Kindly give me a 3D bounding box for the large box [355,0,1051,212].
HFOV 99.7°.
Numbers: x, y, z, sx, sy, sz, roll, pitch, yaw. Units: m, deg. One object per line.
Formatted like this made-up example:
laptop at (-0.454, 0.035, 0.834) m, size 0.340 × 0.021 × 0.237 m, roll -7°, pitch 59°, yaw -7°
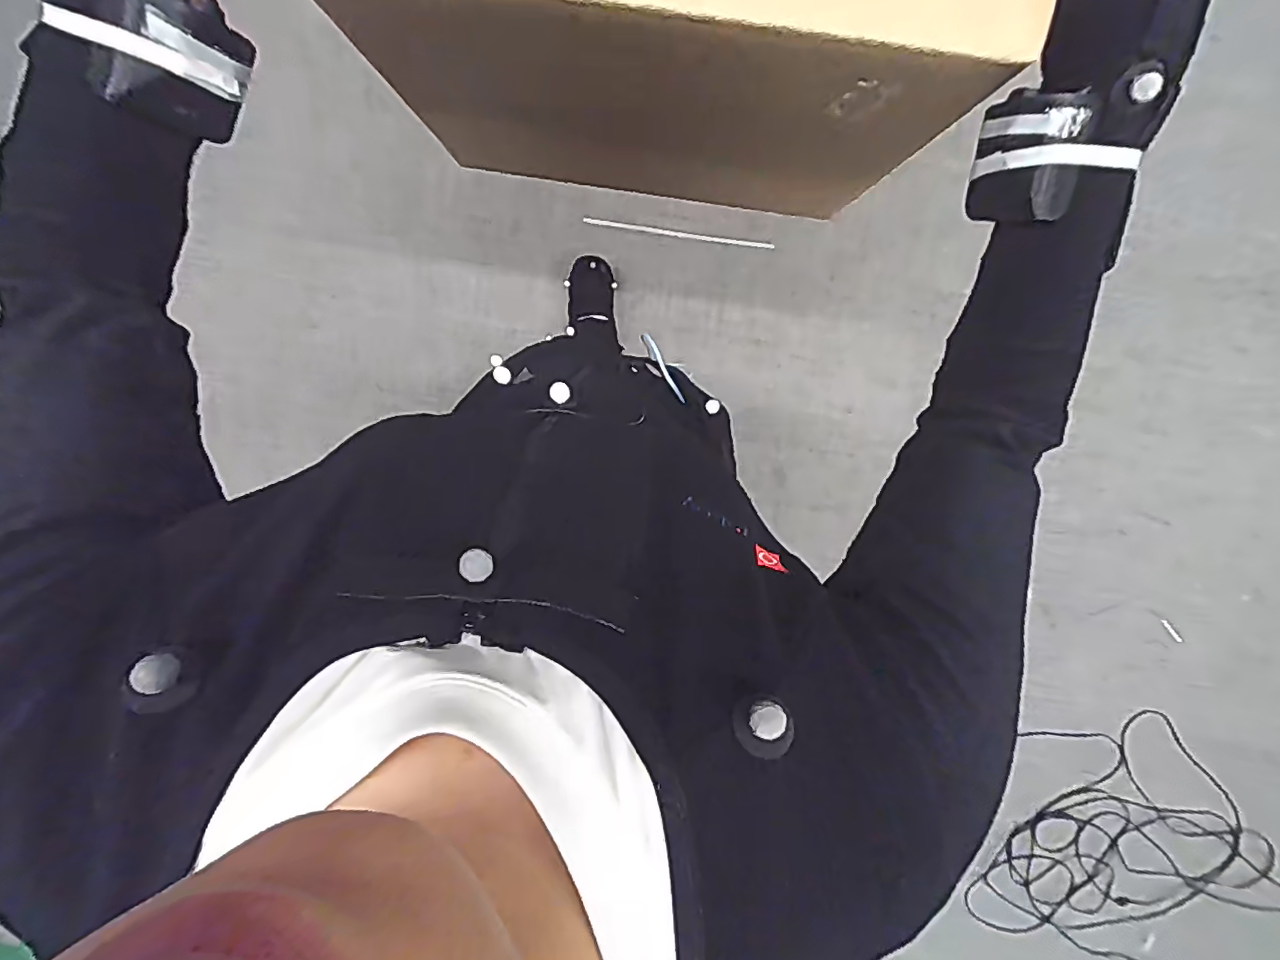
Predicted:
large box at (0.036, -0.430, 0.408) m, size 0.408 × 0.320 × 0.320 m, roll 7°, pitch 102°, yaw -3°
